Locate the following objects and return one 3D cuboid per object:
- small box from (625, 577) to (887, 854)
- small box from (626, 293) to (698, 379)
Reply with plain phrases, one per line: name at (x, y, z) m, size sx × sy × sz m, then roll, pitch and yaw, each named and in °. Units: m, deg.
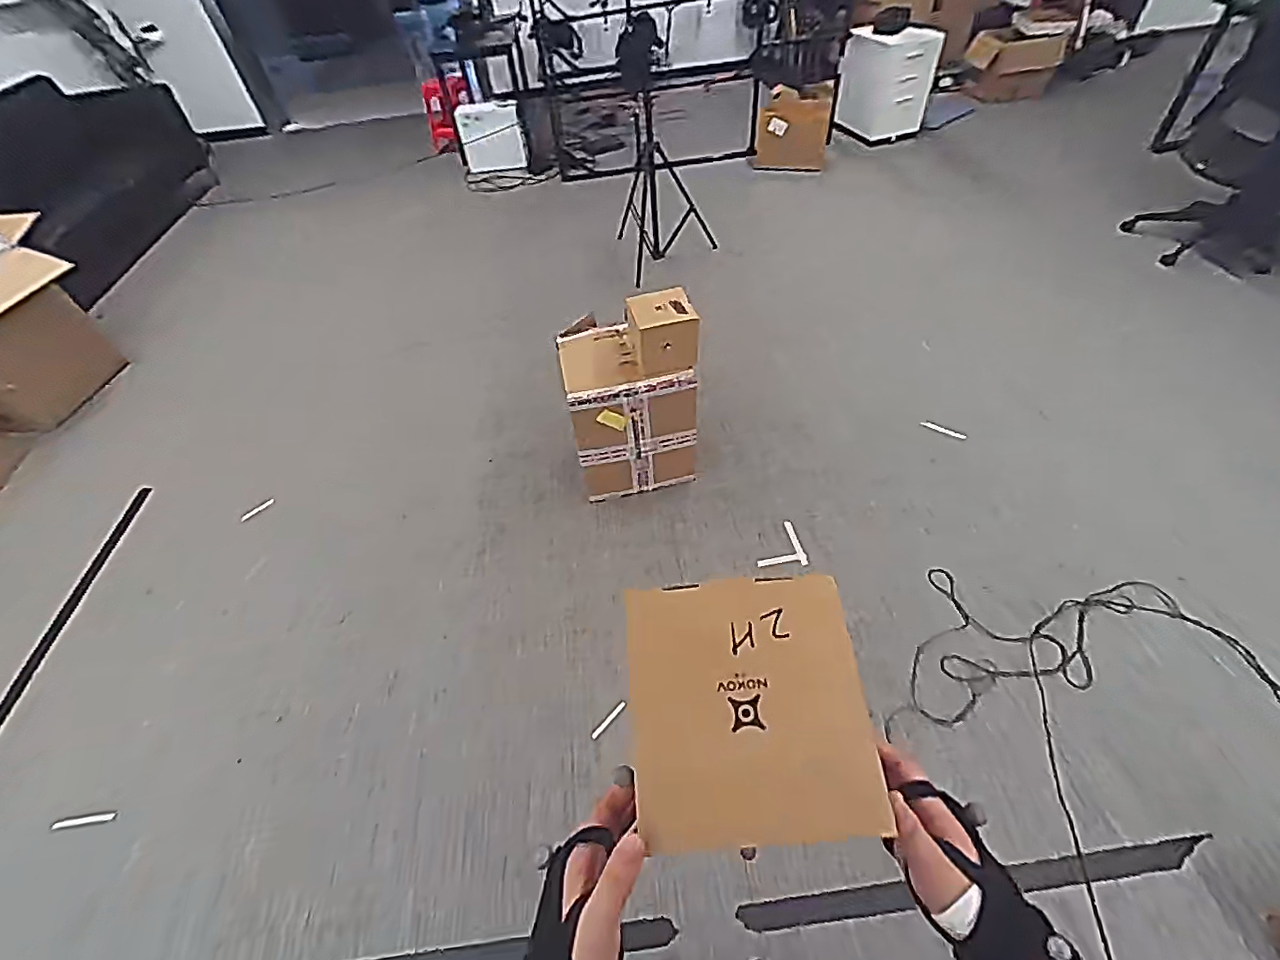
small box at (0.079, 0.196, 0.456) m, size 0.168 × 0.176 × 0.179 m, roll -5°, pitch 60°, yaw 1°
small box at (0.063, -0.429, 1.617) m, size 0.179 × 0.176 × 0.168 m, roll -13°, pitch 51°, yaw -7°
